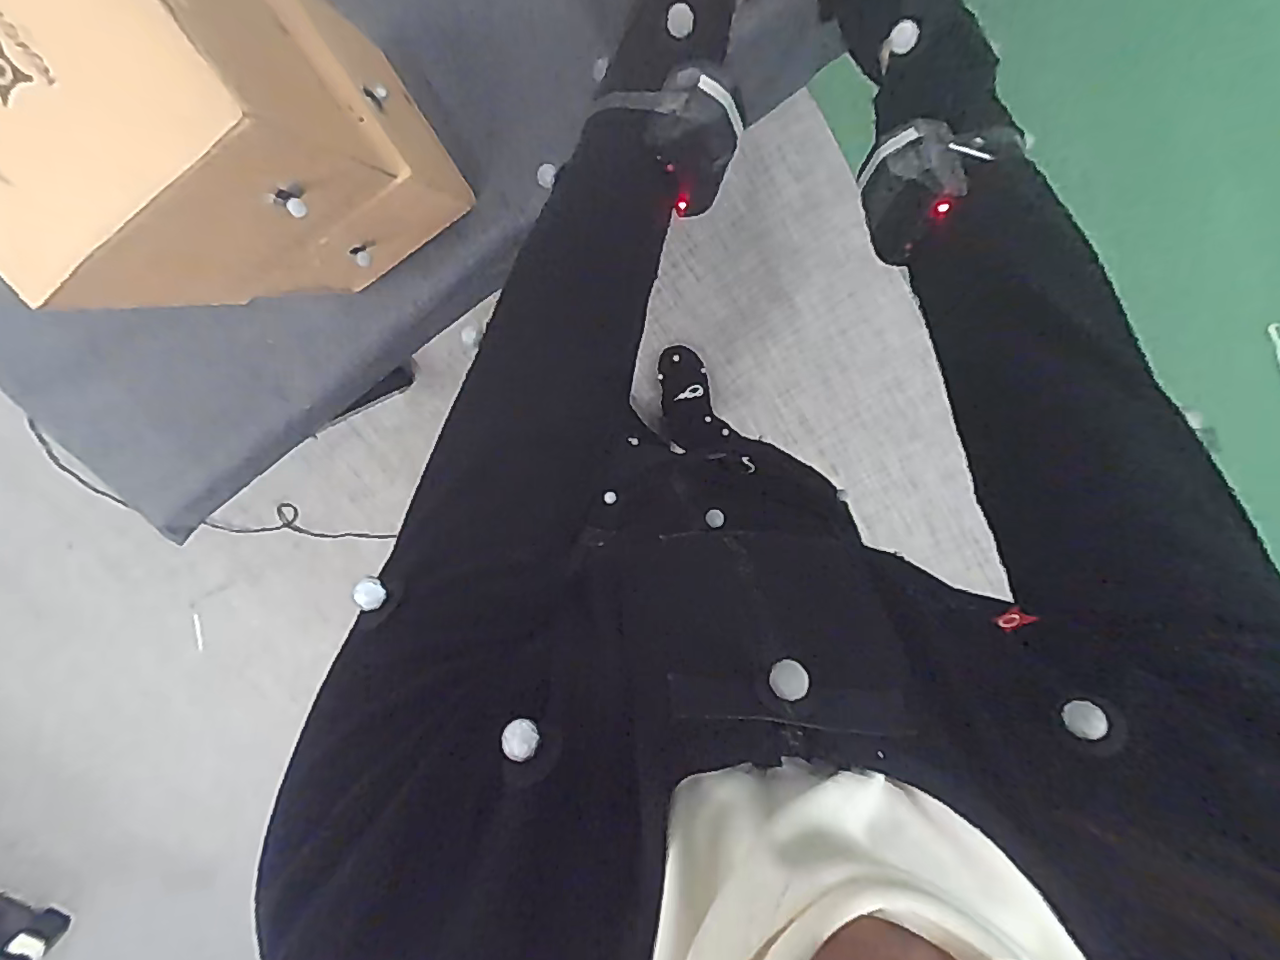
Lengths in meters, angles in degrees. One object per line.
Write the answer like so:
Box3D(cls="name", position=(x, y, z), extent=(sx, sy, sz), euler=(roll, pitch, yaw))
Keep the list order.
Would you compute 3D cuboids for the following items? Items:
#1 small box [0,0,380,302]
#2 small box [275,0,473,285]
Box3D(cls="small box", position=(-0.304, -0.236, 0.349), extent=(0.179, 0.176, 0.168), euler=(-31, 104, 13))
Box3D(cls="small box", position=(-0.289, -0.294, 0.501), extent=(0.179, 0.176, 0.168), euler=(-29, 106, 12))
